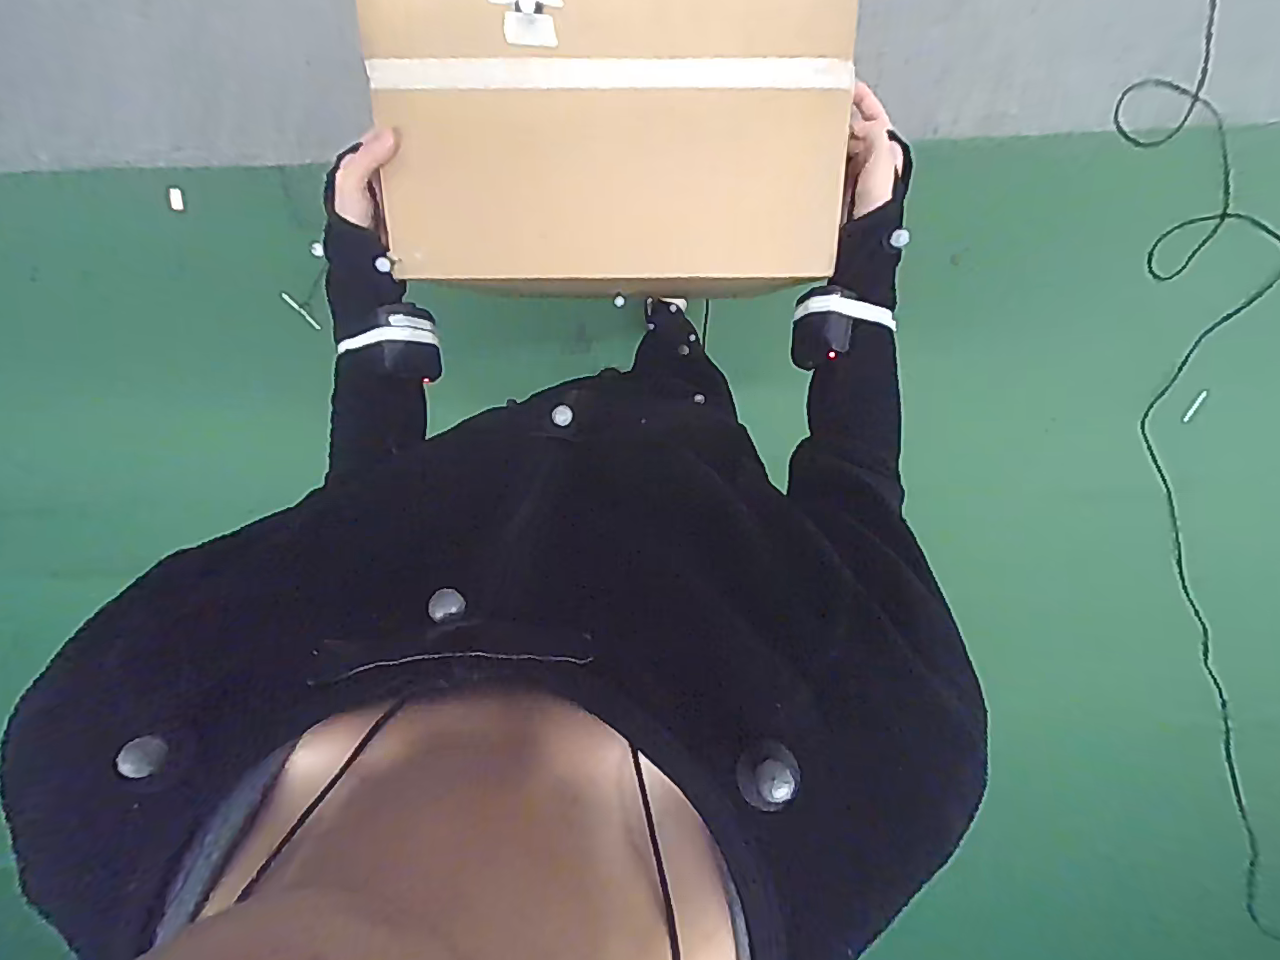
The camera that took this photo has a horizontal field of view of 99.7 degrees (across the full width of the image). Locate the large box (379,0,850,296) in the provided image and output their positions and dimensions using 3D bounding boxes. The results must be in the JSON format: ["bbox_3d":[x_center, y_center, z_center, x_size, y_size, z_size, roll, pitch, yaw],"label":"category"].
[{"bbox_3d":[-0.019,-0.384,0.612,0.408,0.320,0.320,-1,104,0],"label":"large box"}]
